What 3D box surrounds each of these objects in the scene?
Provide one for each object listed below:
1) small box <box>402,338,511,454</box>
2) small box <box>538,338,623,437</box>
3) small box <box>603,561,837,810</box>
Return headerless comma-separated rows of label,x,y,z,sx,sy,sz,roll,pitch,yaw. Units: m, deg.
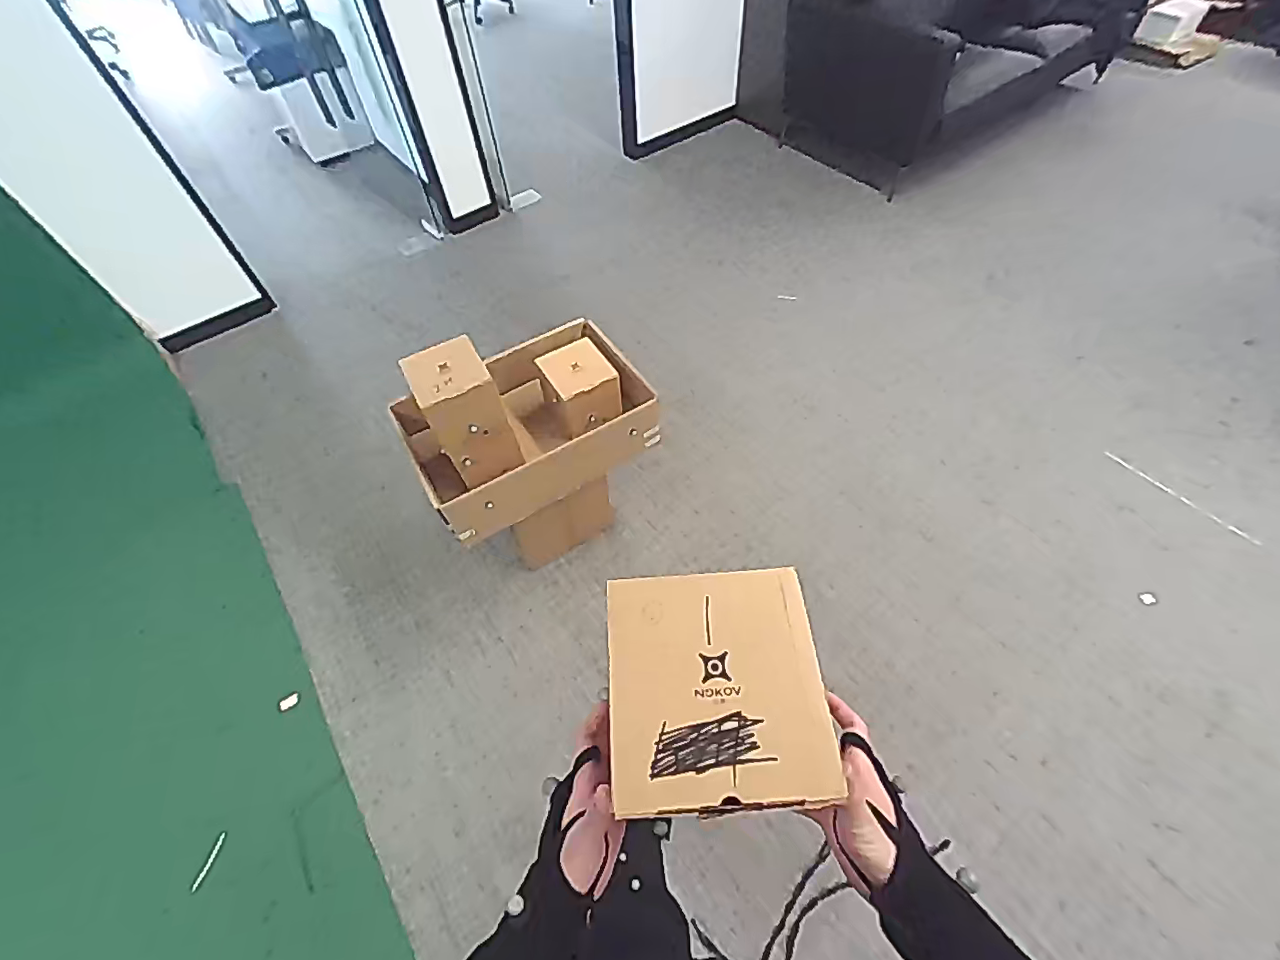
small box,-0.426,-0.194,1.269,0.168,0.176,0.179,-28,59,-13
small box,-0.161,-0.251,1.491,0.168,0.176,0.179,-29,60,-15
small box,0.058,0.191,0.487,0.168,0.176,0.179,-4,57,1
